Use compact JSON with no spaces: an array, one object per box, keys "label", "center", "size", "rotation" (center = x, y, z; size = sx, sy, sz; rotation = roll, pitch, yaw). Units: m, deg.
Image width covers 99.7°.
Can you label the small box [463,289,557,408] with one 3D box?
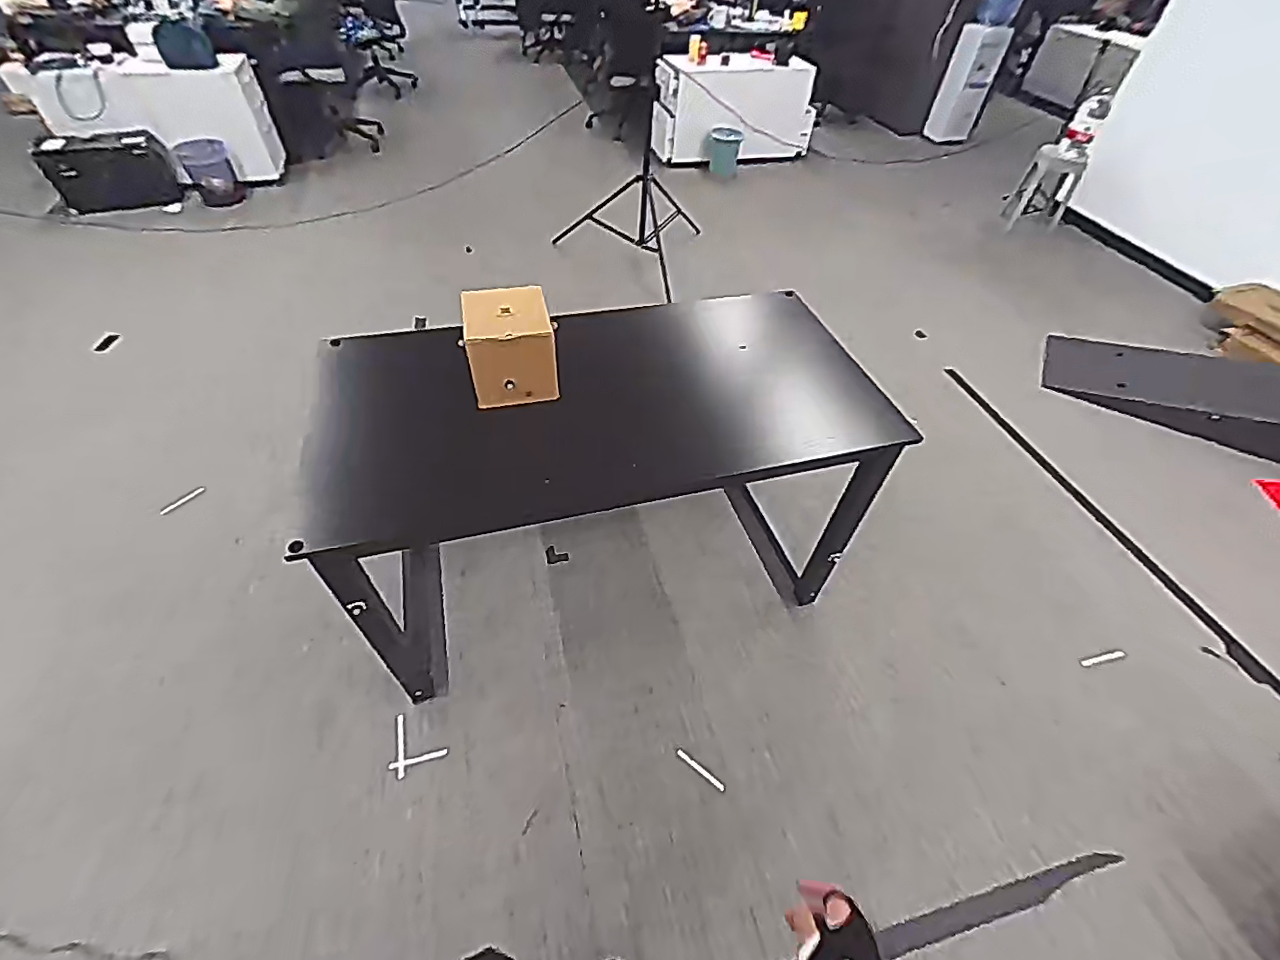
[{"label":"small box","center":[-0.271,-0.275,1.131],"size":[0.168,0.176,0.179],"rotation":[-9,50,-12]}]
